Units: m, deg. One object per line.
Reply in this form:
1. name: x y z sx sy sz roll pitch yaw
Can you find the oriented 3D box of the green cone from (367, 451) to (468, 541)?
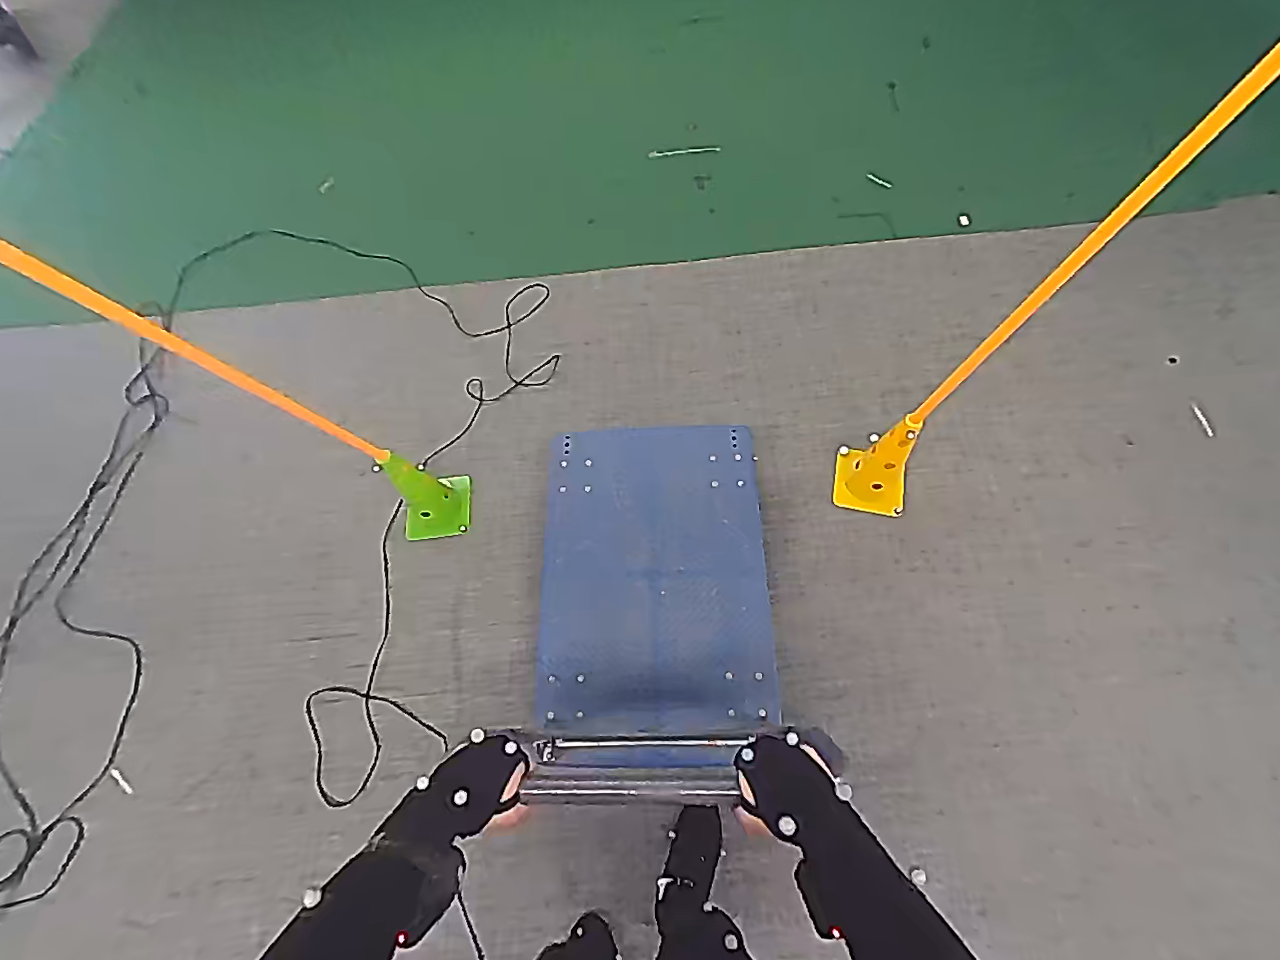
1. green cone: -0.654 0.013 1.534 0.202 0.368 0.200 -9 64 2
